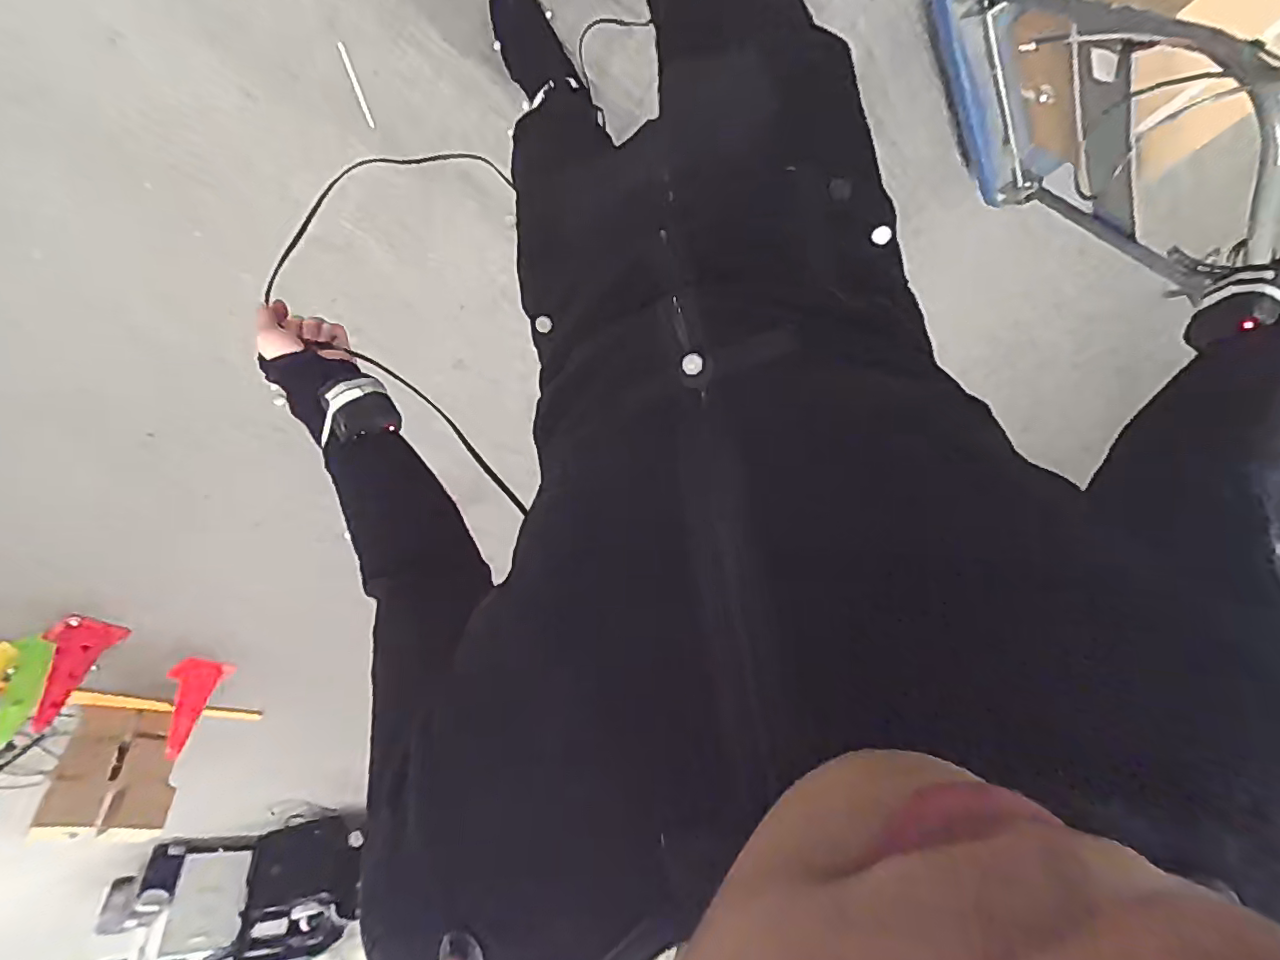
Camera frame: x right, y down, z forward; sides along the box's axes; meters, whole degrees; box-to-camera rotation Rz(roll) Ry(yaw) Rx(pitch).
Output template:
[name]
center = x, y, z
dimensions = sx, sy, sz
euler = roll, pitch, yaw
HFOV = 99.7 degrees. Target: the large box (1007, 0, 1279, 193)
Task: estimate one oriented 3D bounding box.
[large box]
center = 1.032, -0.867, 1.049
dimensions = 0.408, 0.320, 0.320
euler = -37, 134, 20
